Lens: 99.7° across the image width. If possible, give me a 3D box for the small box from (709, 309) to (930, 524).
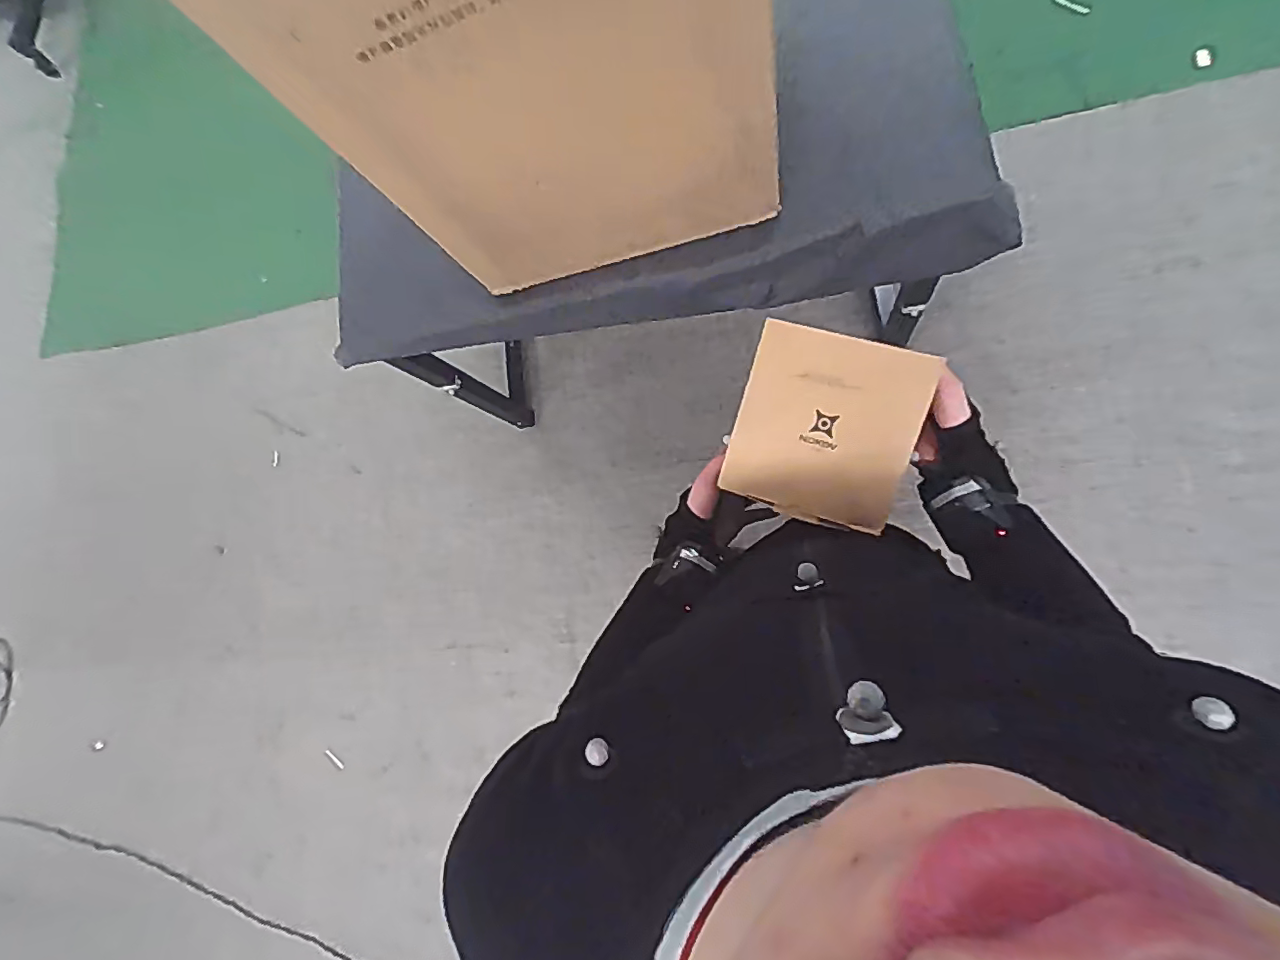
[{"bbox_3d":[0.187,-0.072,0.599,0.168,0.176,0.179,17,101,11],"label":"small box"}]
